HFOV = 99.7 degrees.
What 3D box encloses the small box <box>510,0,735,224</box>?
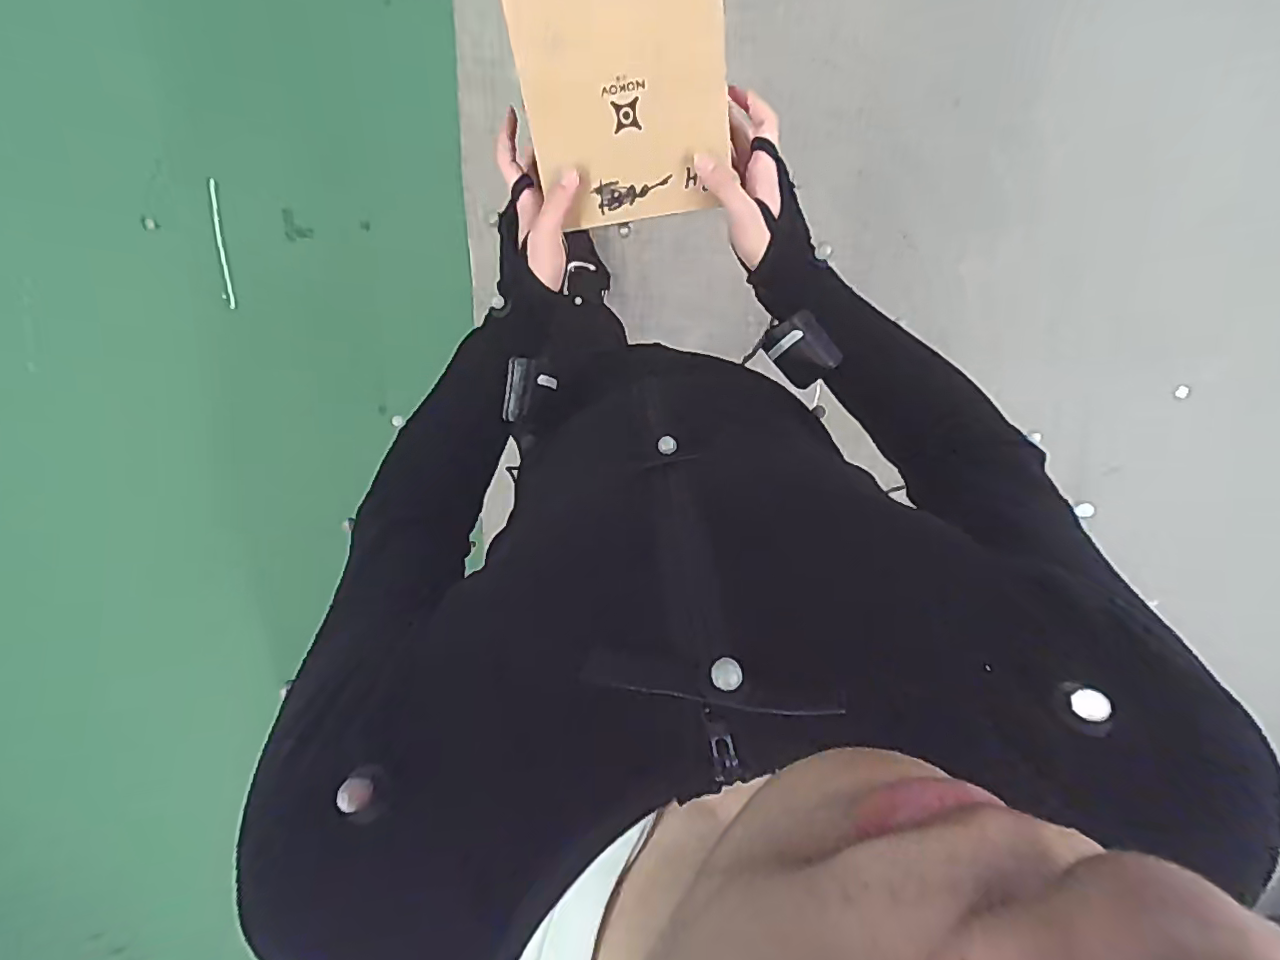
[{"bbox_3d":[-0.008,-0.348,0.500,0.168,0.176,0.179,-6,120,5],"label":"small box"}]
